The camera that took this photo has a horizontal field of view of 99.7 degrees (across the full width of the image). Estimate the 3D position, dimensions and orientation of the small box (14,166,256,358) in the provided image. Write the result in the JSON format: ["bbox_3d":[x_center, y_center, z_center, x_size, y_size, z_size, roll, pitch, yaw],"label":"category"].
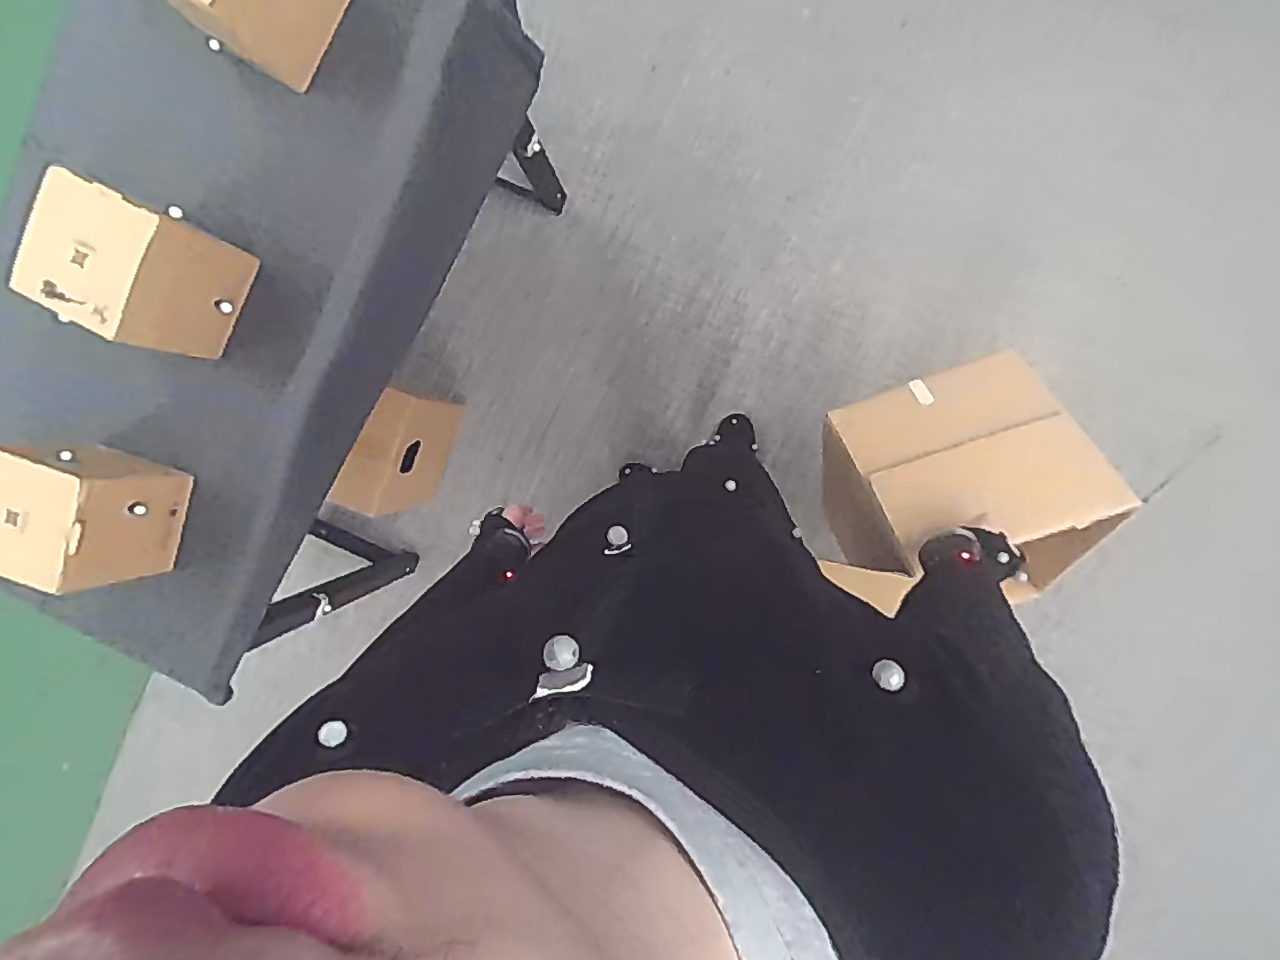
[{"bbox_3d":[-0.708,-0.299,0.782,0.168,0.176,0.179,27,95,3],"label":"small box"}]

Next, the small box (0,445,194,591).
[{"bbox_3d":[-0.832,0.048,0.814,0.179,0.176,0.168,17,93,6],"label":"small box"}]

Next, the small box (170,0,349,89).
[{"bbox_3d":[-0.542,-0.696,0.741,0.168,0.176,0.179,31,95,2],"label":"small box"}]
